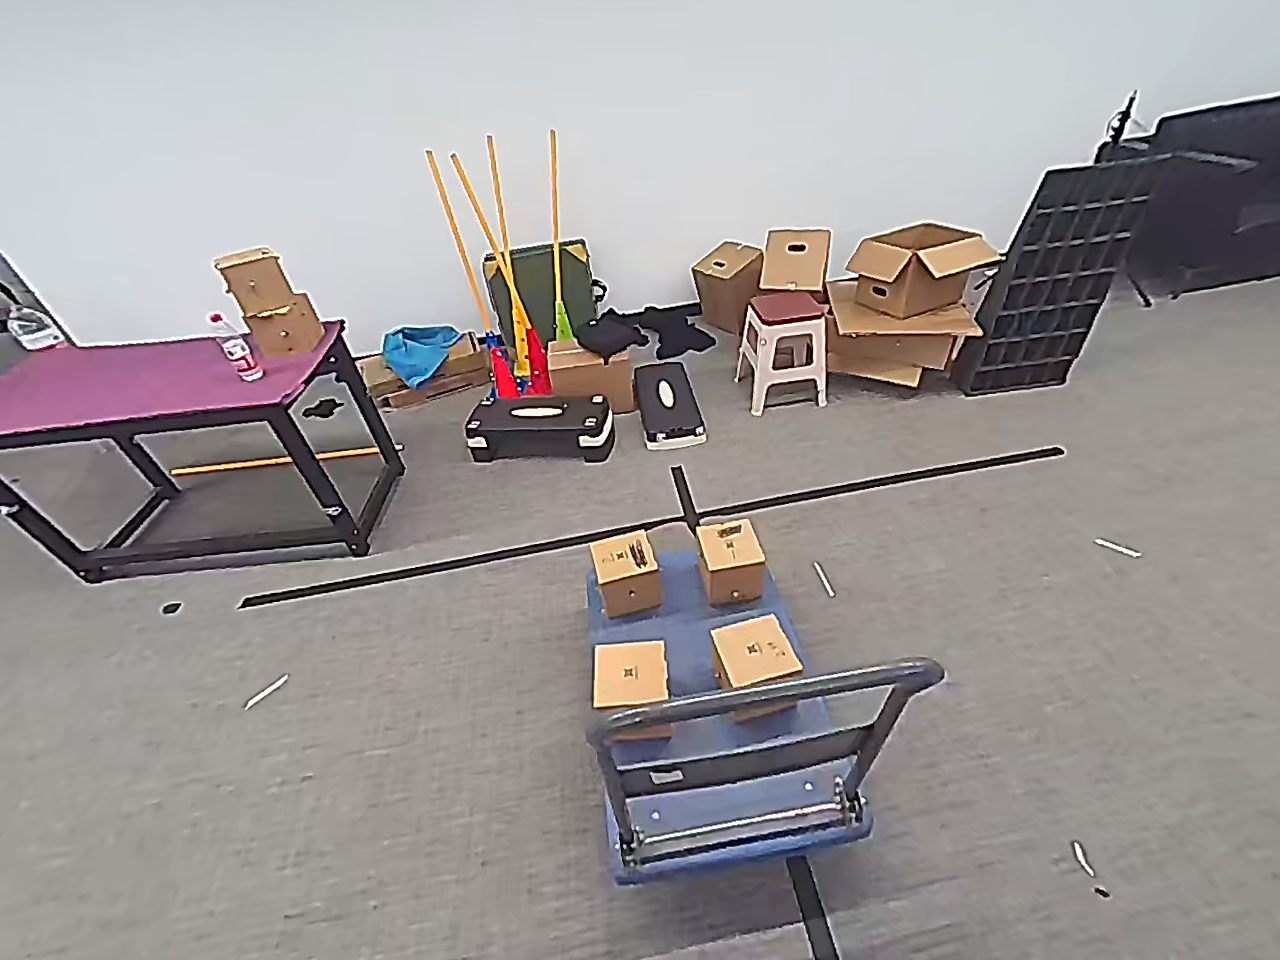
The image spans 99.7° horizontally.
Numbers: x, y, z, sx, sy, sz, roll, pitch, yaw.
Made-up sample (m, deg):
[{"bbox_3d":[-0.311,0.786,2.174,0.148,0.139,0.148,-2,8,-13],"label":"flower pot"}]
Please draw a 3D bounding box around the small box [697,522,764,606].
[{"bbox_3d":[0.268,0.254,1.638,0.168,0.176,0.179,-10,41,-2],"label":"small box"}]

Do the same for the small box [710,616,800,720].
[{"bbox_3d":[0.286,0.479,1.368,0.179,0.176,0.168,-13,40,-7],"label":"small box"}]

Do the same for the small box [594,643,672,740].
[{"bbox_3d":[-0.016,0.531,1.352,0.179,0.176,0.168,-5,39,1],"label":"small box"}]
